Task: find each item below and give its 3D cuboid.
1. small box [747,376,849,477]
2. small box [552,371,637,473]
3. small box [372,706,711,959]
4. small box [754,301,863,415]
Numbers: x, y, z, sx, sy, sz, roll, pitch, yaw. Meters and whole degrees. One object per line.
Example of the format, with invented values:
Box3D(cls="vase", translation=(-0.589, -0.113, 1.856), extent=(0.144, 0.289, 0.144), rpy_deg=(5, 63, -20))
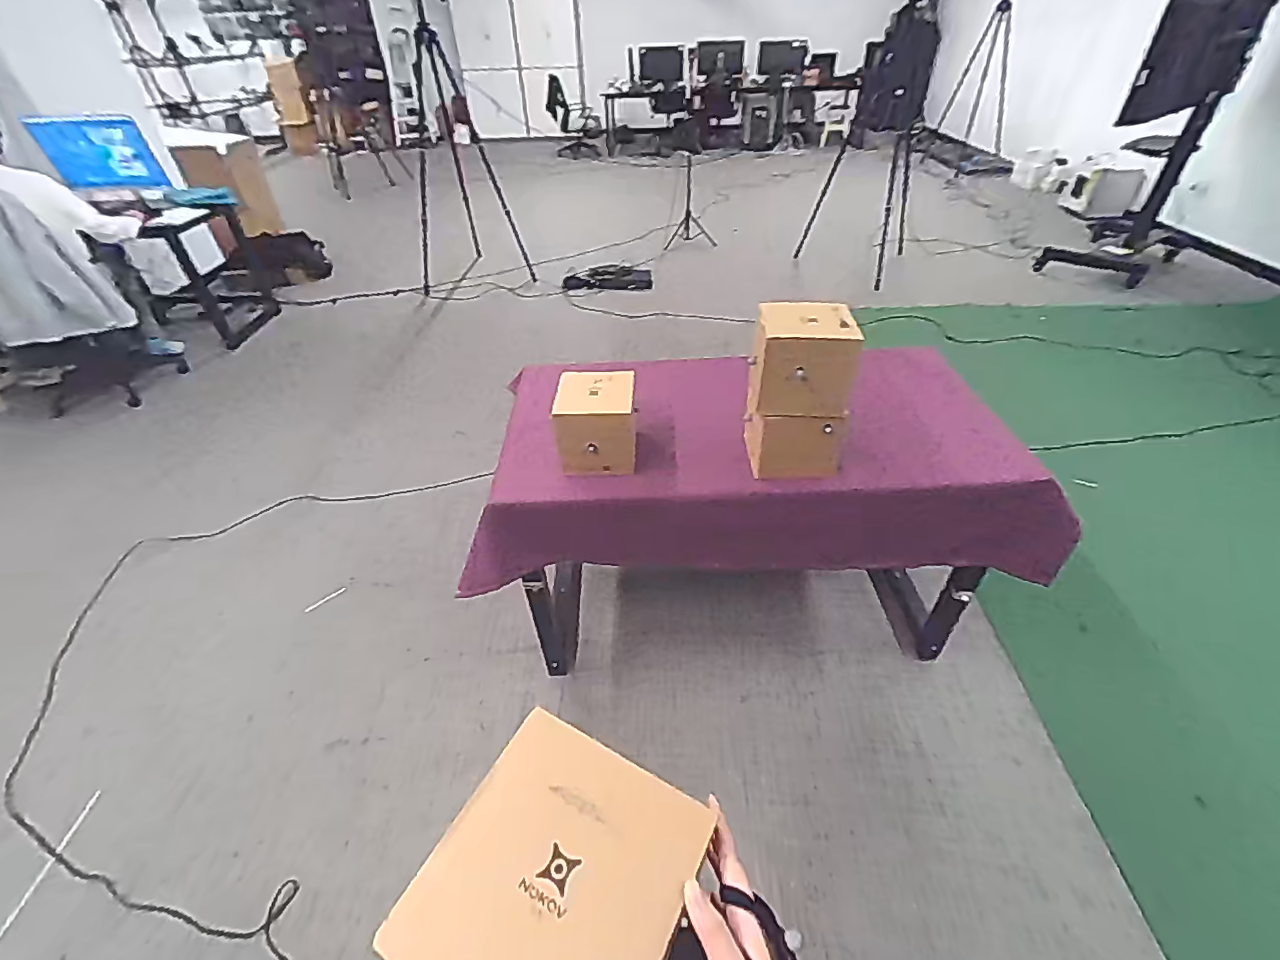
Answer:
Box3D(cls="small box", translation=(0.333, -0.119, 1.182), extent=(0.179, 0.176, 0.168), rpy_deg=(-1, 40, 1))
Box3D(cls="small box", translation=(-0.093, -0.128, 1.215), extent=(0.168, 0.176, 0.179), rpy_deg=(0, 40, 2))
Box3D(cls="small box", translation=(-0.057, 0.322, 0.418), extent=(0.168, 0.176, 0.179), rpy_deg=(21, 48, 21))
Box3D(cls="small box", translation=(0.321, -0.241, 1.073), extent=(0.179, 0.176, 0.168), rpy_deg=(1, 41, 5))
